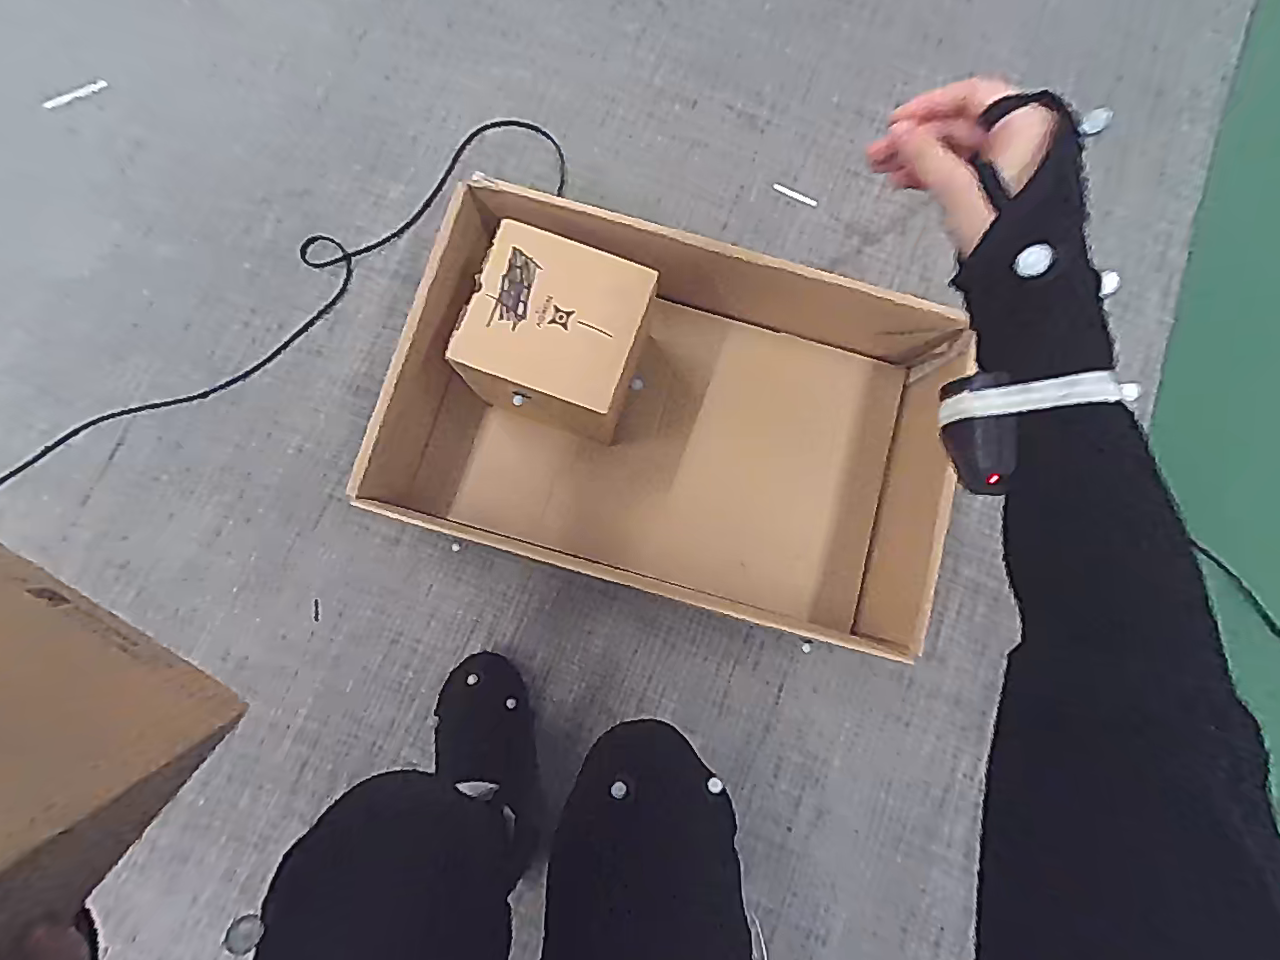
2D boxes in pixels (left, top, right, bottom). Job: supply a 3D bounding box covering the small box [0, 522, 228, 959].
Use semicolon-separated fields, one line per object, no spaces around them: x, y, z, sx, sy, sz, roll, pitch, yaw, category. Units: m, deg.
-0.299;0.120;0.181;0.168;0.176;0.179;40;75;-8;small box
